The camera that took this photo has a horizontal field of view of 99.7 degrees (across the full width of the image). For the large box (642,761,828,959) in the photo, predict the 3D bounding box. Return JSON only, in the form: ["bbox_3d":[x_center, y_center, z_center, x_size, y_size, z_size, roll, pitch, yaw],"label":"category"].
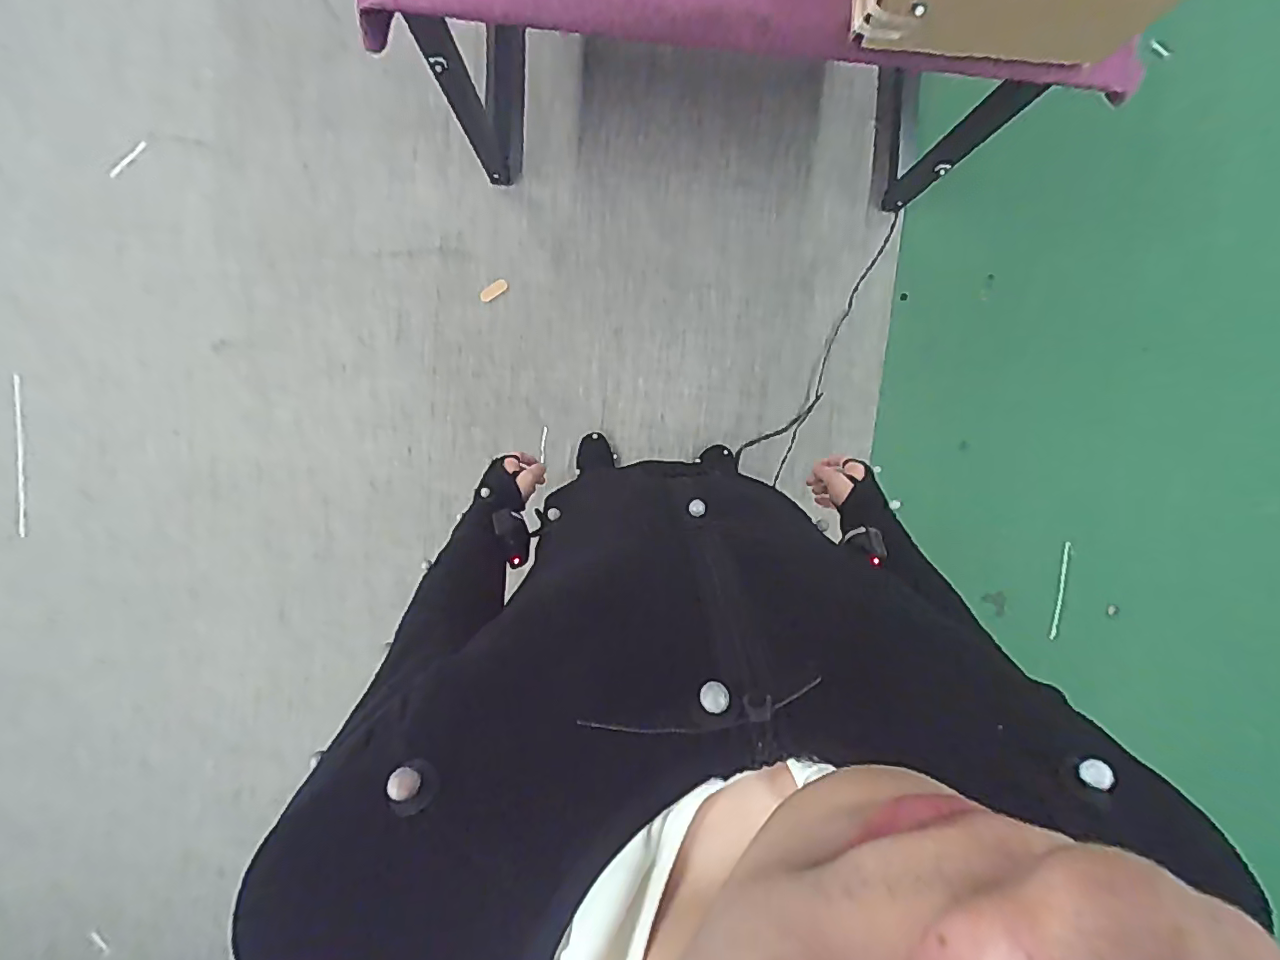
[{"bbox_3d":[0.253,1.123,1.578,0.408,0.320,0.320,-28,96,0],"label":"large box"}]
